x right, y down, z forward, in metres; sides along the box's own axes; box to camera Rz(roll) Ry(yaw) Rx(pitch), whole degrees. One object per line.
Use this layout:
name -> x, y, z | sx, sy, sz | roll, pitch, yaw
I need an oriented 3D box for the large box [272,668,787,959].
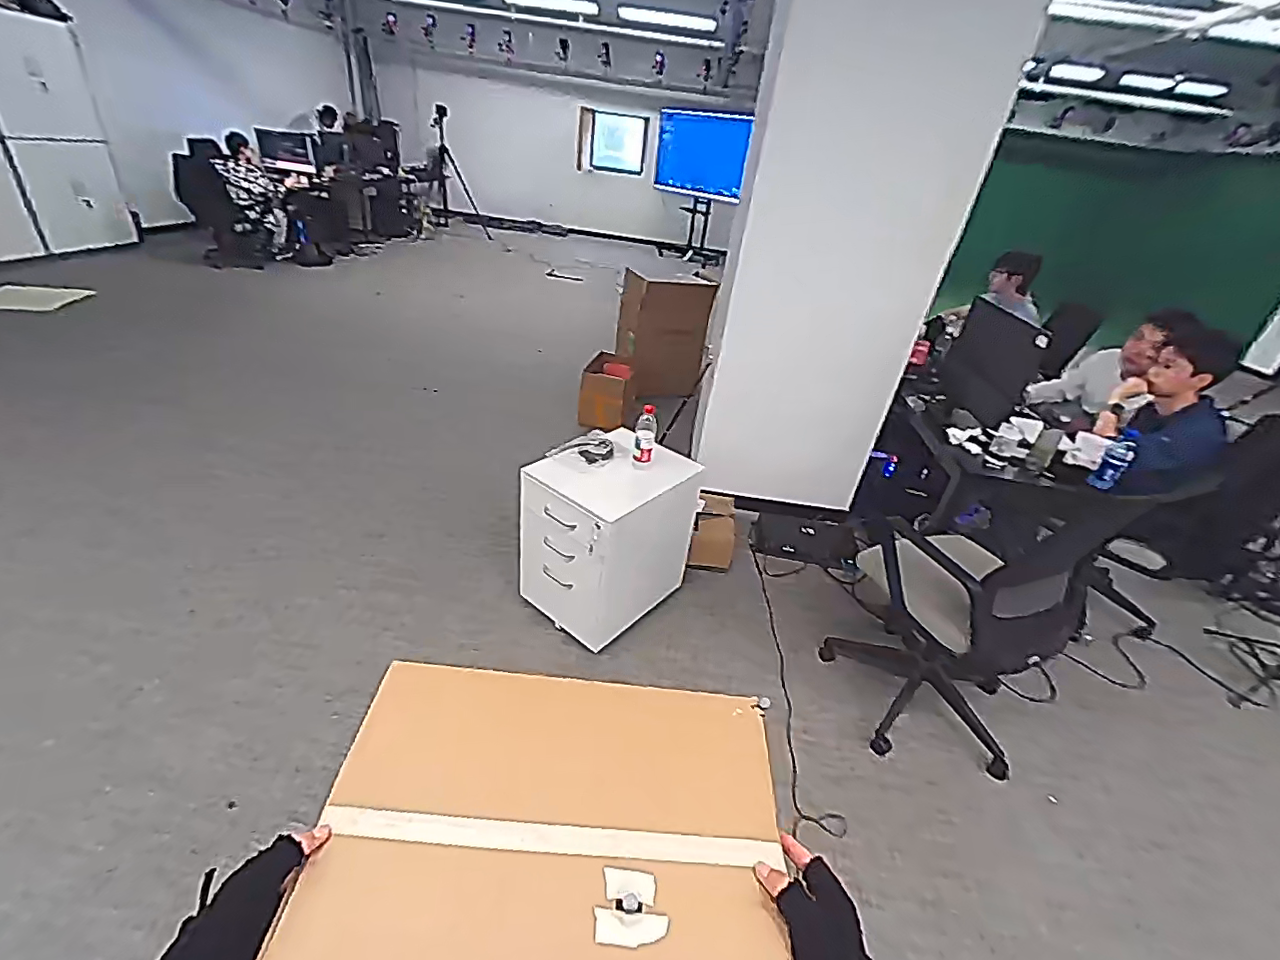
large box -> -0.095, 0.437, 0.576 | 0.408, 0.320, 0.320 | 7, 38, -3
